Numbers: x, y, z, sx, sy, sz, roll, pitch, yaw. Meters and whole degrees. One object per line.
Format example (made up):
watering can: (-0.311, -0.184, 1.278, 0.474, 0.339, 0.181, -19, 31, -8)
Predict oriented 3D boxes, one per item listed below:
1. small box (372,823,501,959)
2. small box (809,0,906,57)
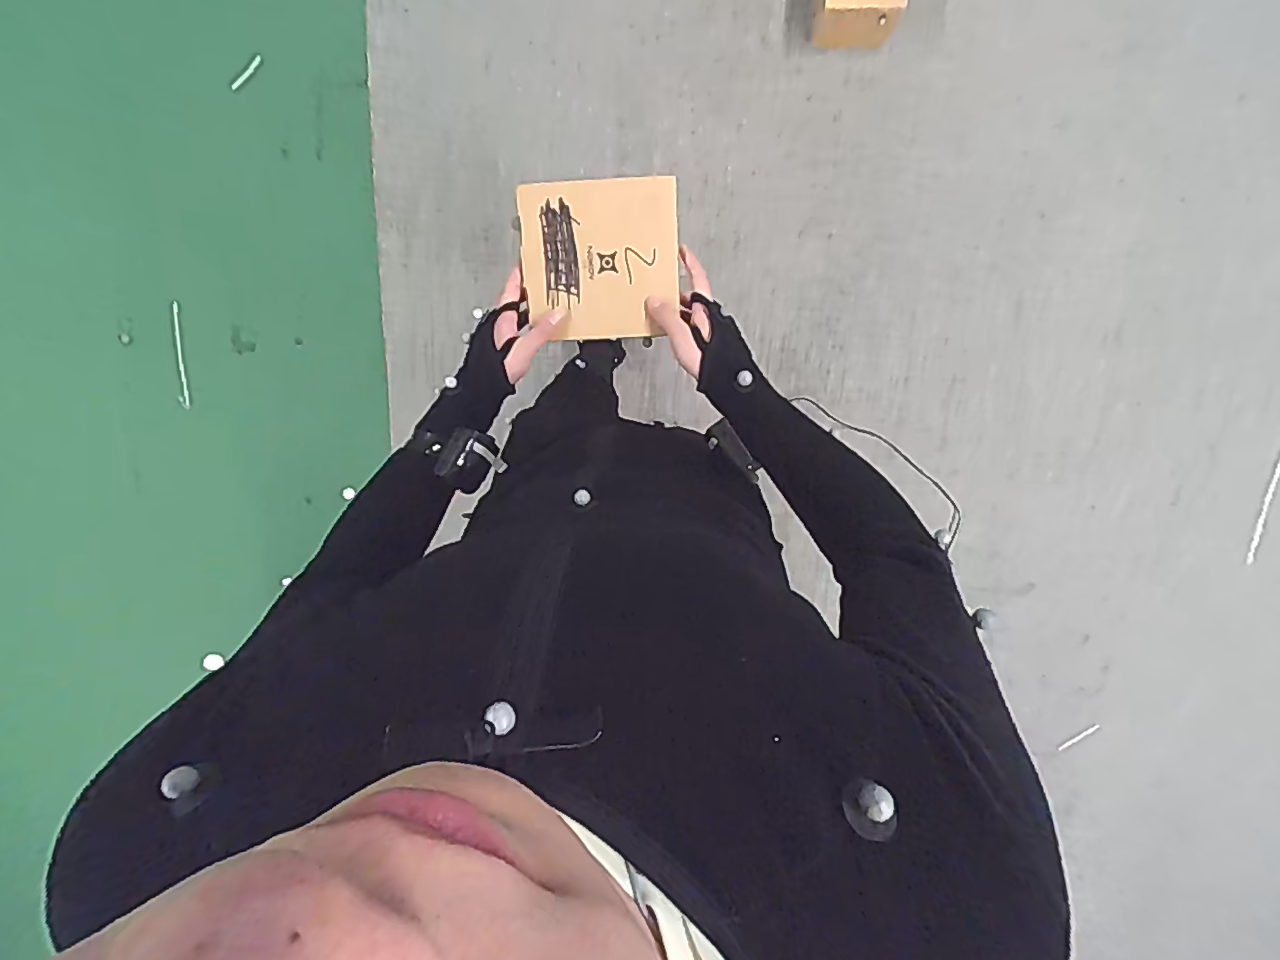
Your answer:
small box: (-0.363, 0.768, 0.988, 0.179, 0.176, 0.168, 8, 104, 2)
small box: (0.495, -1.103, 1.235, 0.179, 0.176, 0.168, 3, 103, 3)
